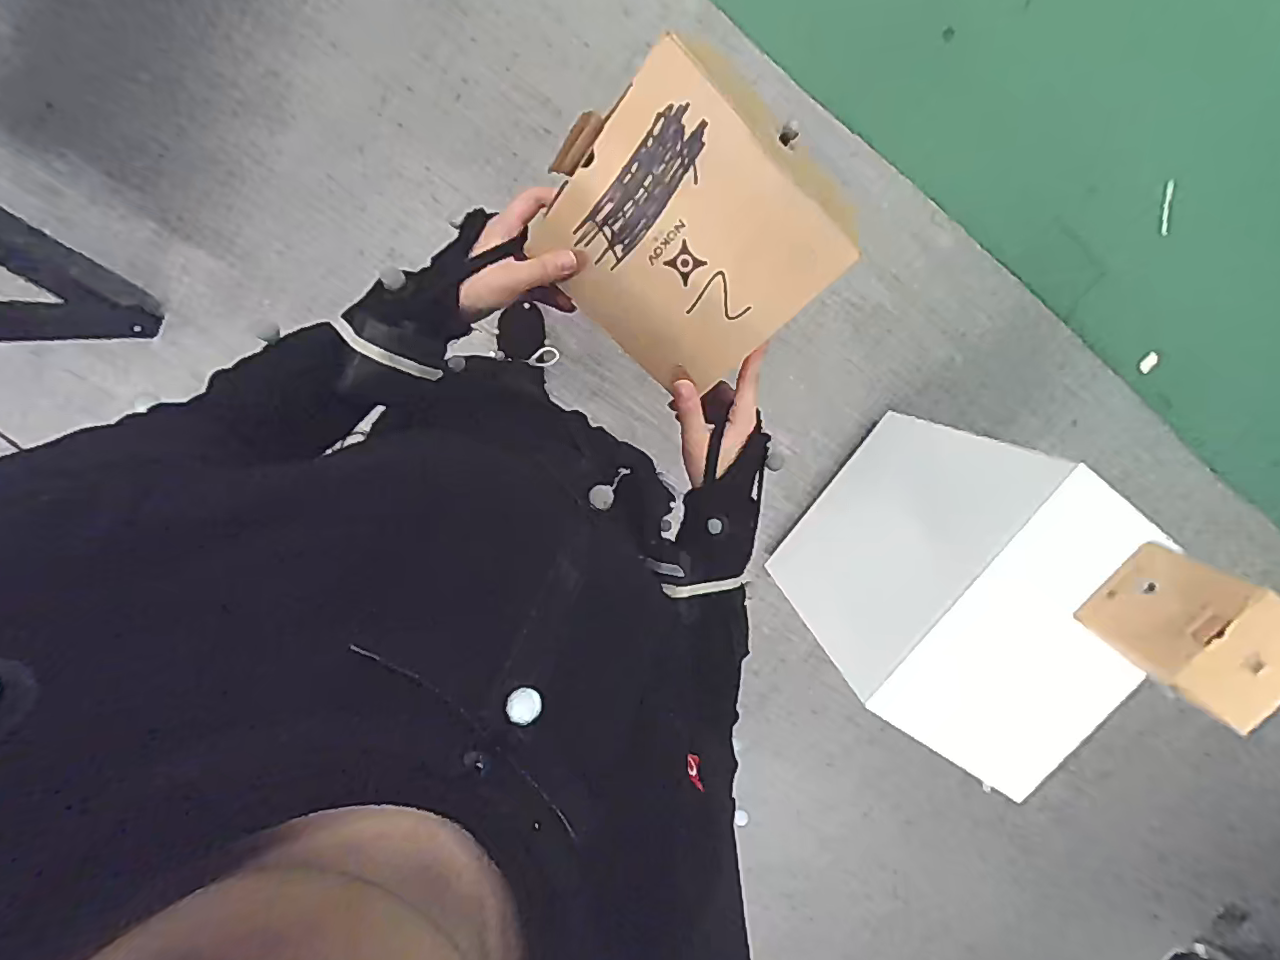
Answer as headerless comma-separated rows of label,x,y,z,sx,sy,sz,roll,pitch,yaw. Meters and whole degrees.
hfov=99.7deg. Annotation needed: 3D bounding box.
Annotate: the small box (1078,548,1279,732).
small box,0.833,0.229,0.815,0.179,0.176,0.168,34,101,-12
